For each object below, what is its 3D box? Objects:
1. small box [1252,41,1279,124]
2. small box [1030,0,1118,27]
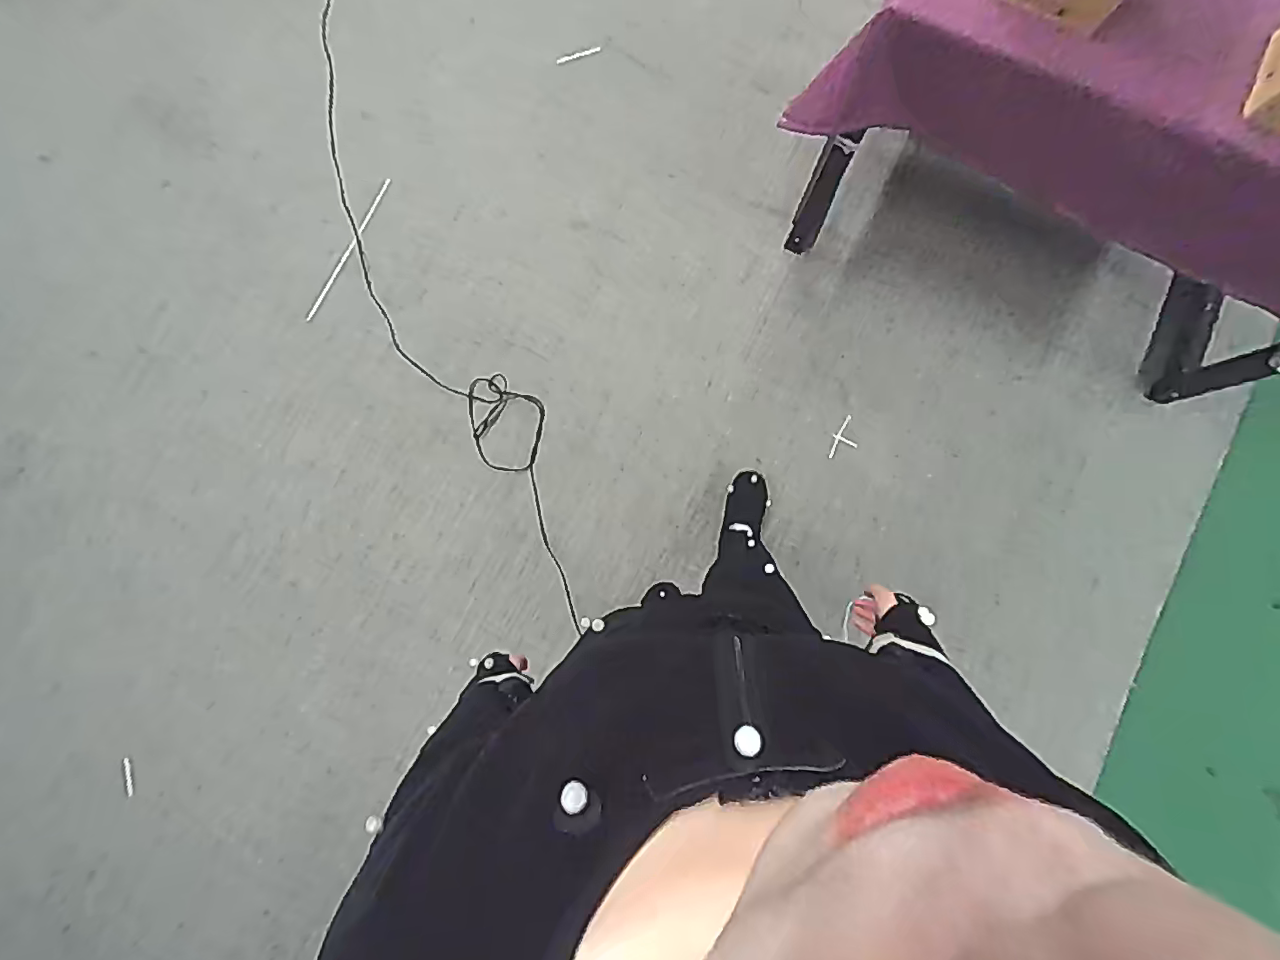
[{"bbox_3d":[1.048,-0.613,0.760,0.179,0.176,0.168,25,84,2],"label":"small box"},{"bbox_3d":[0.674,-0.821,0.780,0.168,0.176,0.179,27,84,2],"label":"small box"}]
